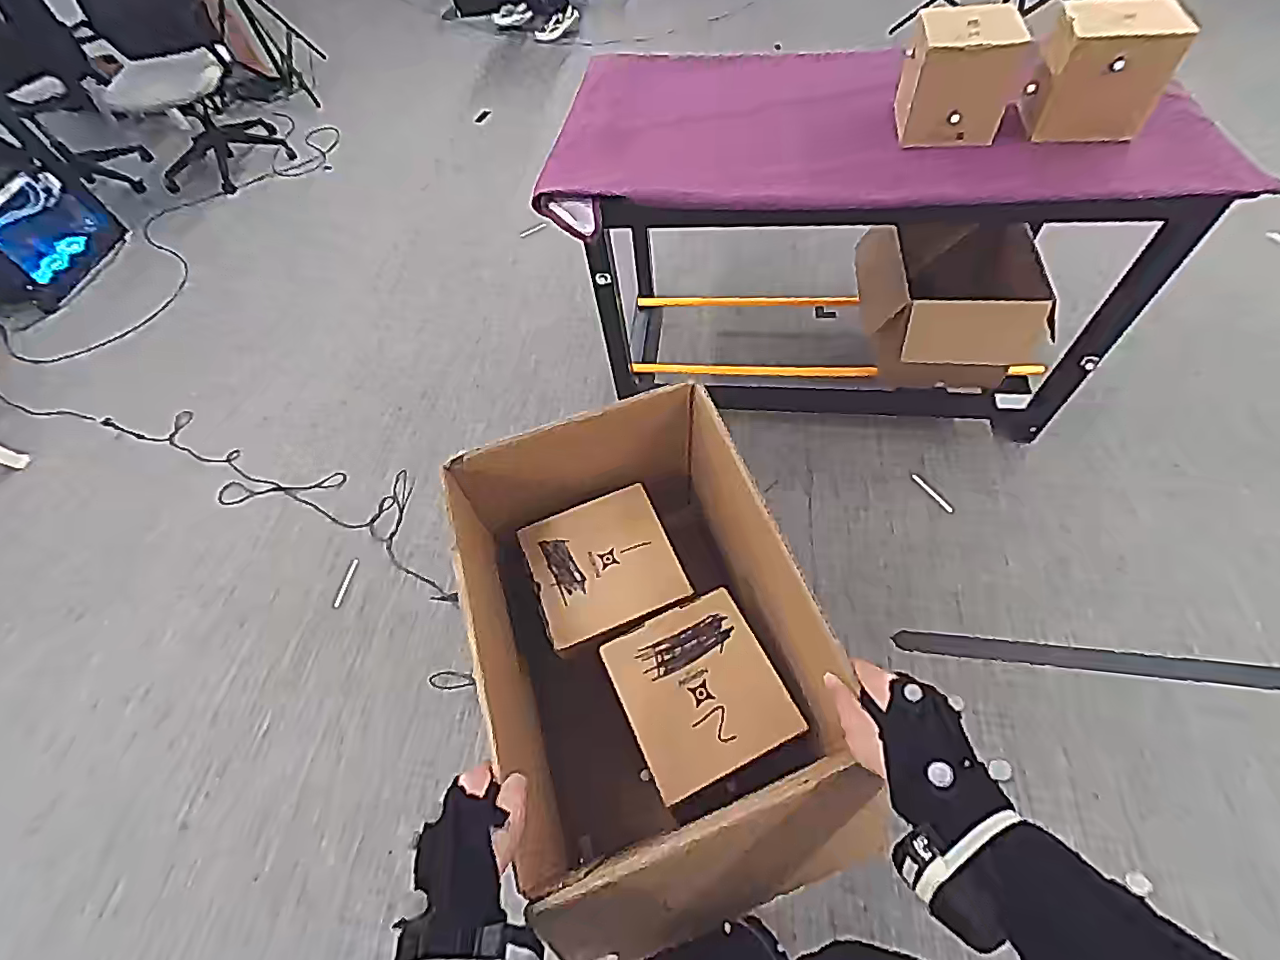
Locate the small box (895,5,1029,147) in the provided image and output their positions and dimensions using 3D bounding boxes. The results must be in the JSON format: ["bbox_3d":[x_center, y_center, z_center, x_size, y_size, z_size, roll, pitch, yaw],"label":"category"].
[{"bbox_3d":[0.600,-0.768,1.035,0.168,0.176,0.179,5,59,11],"label":"small box"}]

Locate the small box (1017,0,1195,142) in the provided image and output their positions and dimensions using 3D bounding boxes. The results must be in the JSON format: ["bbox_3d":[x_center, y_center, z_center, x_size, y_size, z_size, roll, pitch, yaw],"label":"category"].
[{"bbox_3d":[0.837,-0.746,0.994,0.179,0.176,0.168,7,58,12],"label":"small box"}]
